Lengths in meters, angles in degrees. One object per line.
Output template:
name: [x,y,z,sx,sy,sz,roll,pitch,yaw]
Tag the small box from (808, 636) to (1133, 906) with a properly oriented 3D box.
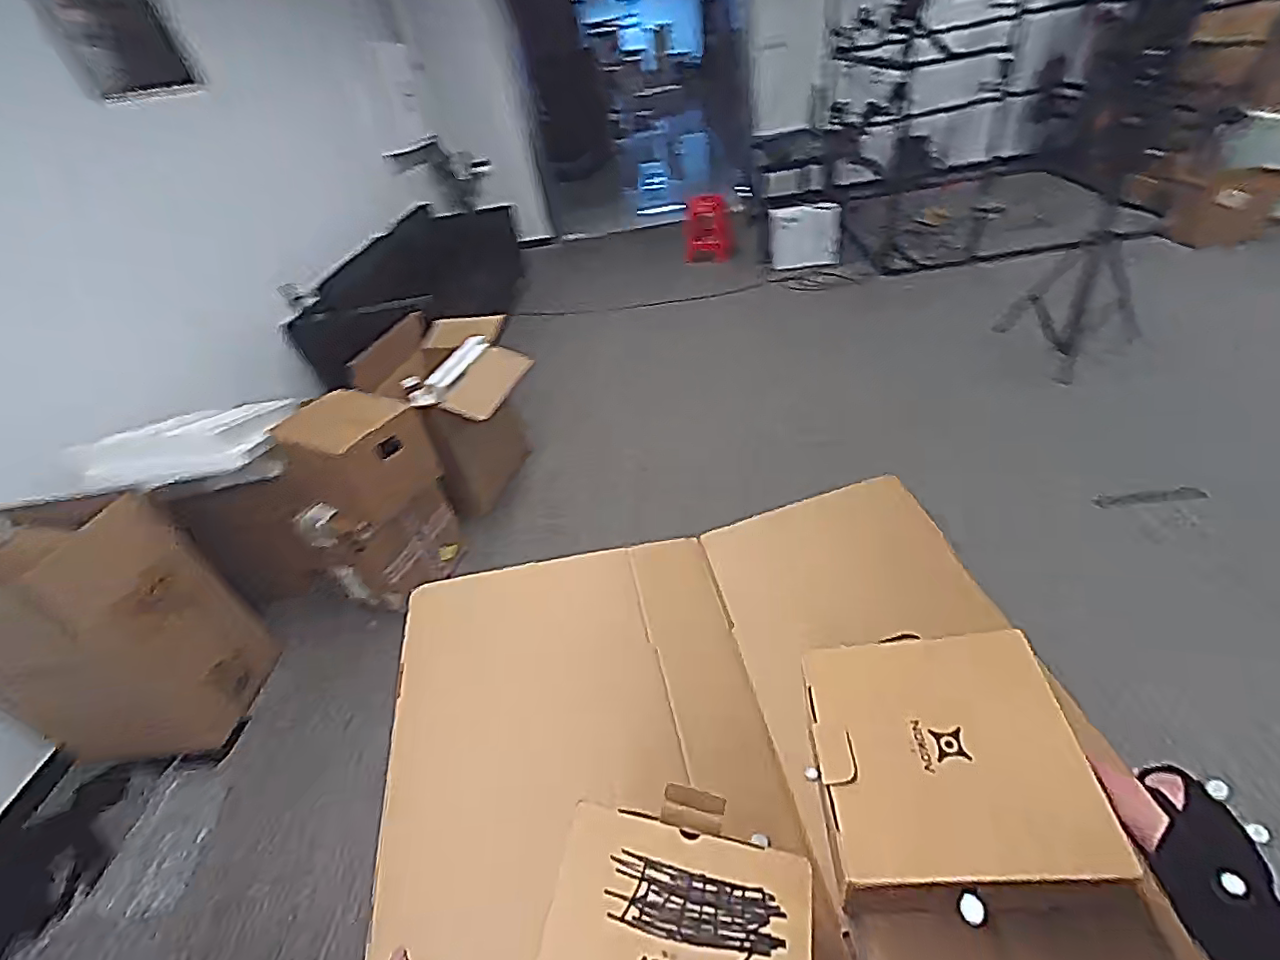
small box: [0.250,0.253,0.465,0.179,0.176,0.168,-10,46,12]
